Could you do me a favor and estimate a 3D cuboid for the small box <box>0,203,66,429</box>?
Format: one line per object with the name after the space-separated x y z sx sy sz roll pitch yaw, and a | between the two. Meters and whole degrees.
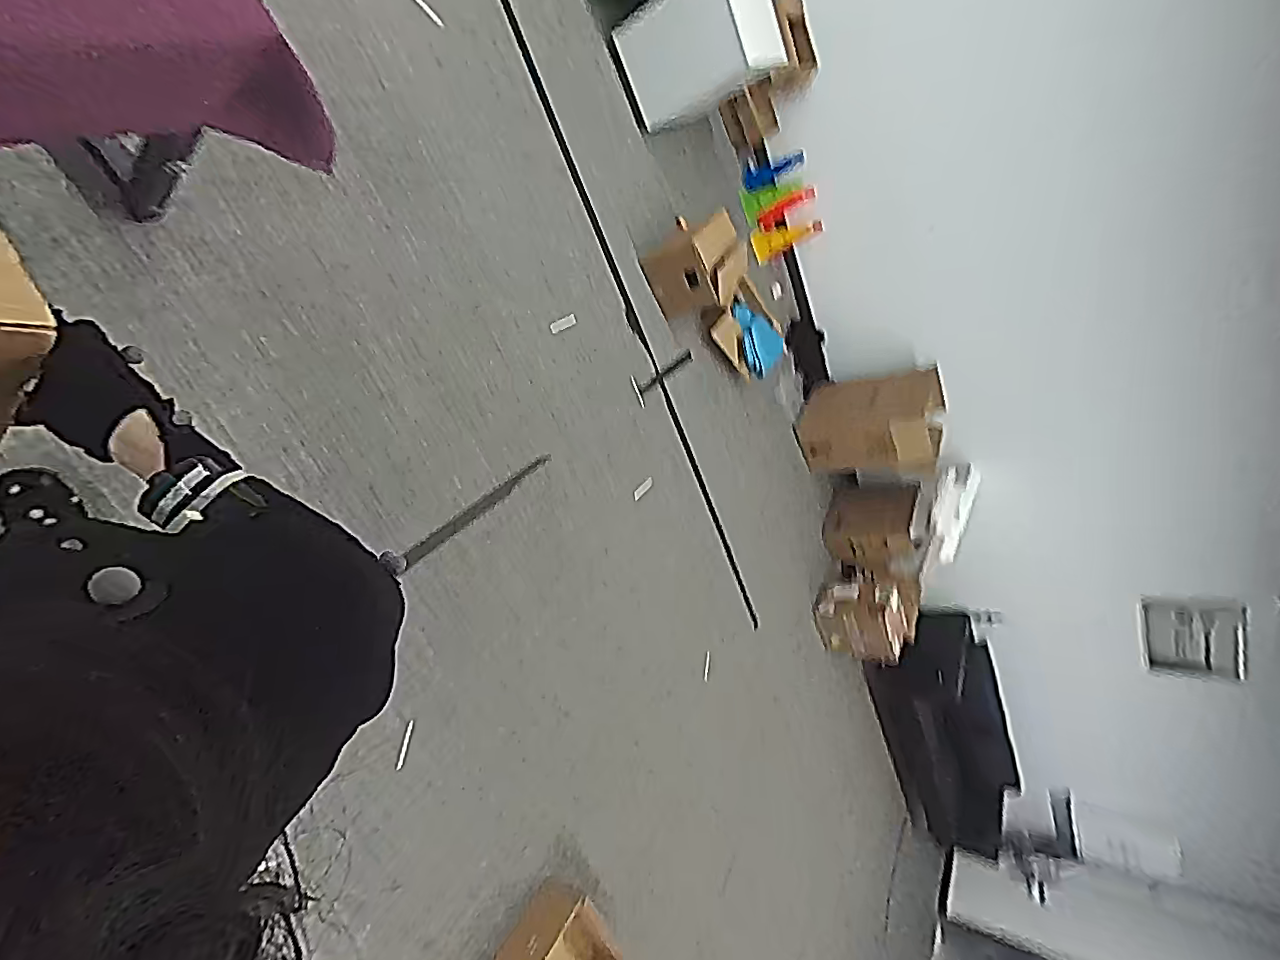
-0.546 -0.121 0.351 0.179 0.176 0.168 56 20 5 | small box
